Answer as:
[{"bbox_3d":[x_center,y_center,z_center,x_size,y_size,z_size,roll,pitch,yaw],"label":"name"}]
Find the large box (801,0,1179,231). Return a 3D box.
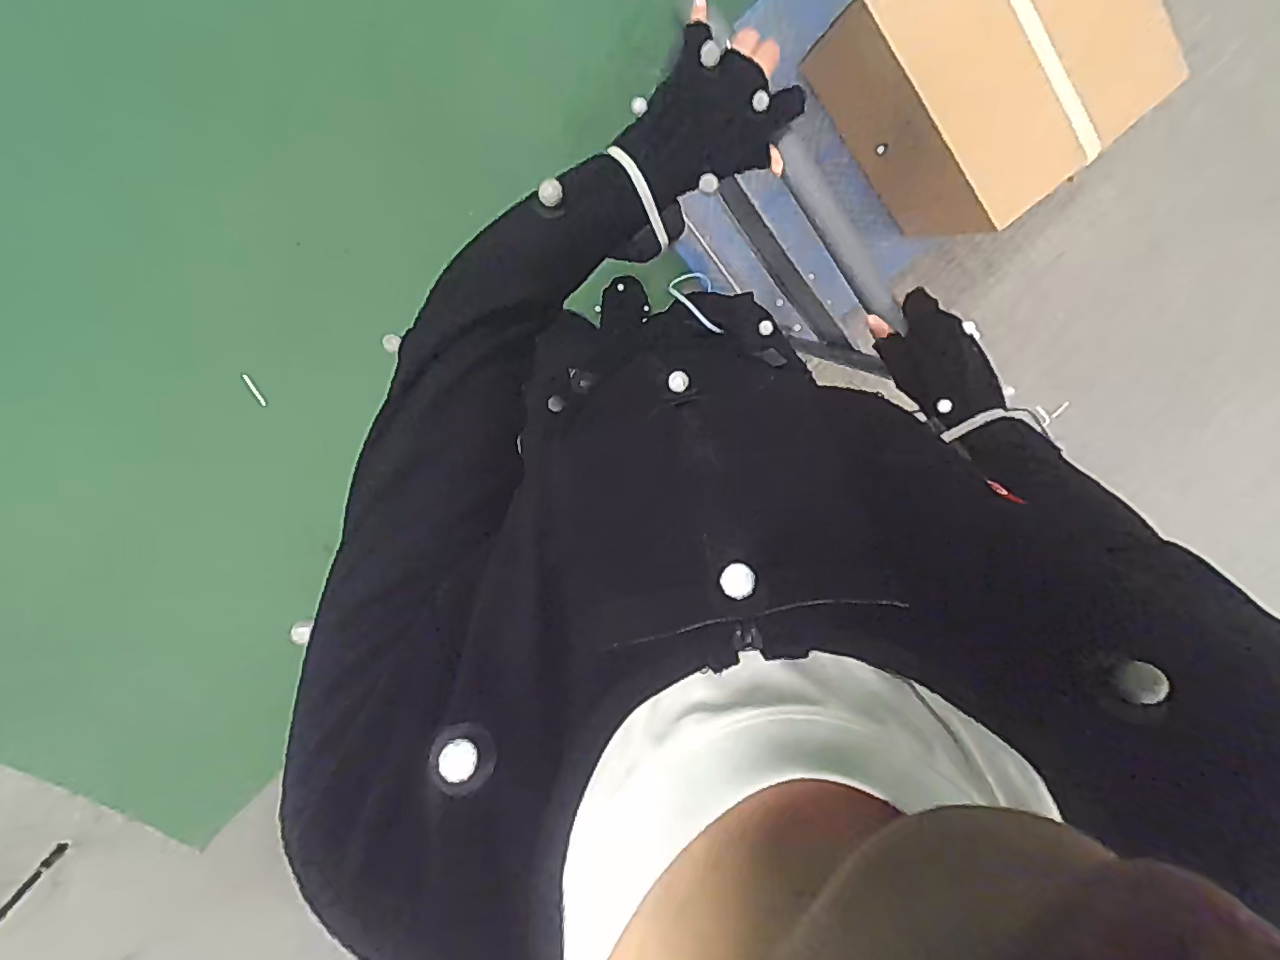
[{"bbox_3d":[0.545,-0.694,0.910,0.320,0.320,0.408,-40,107,13],"label":"large box"}]
